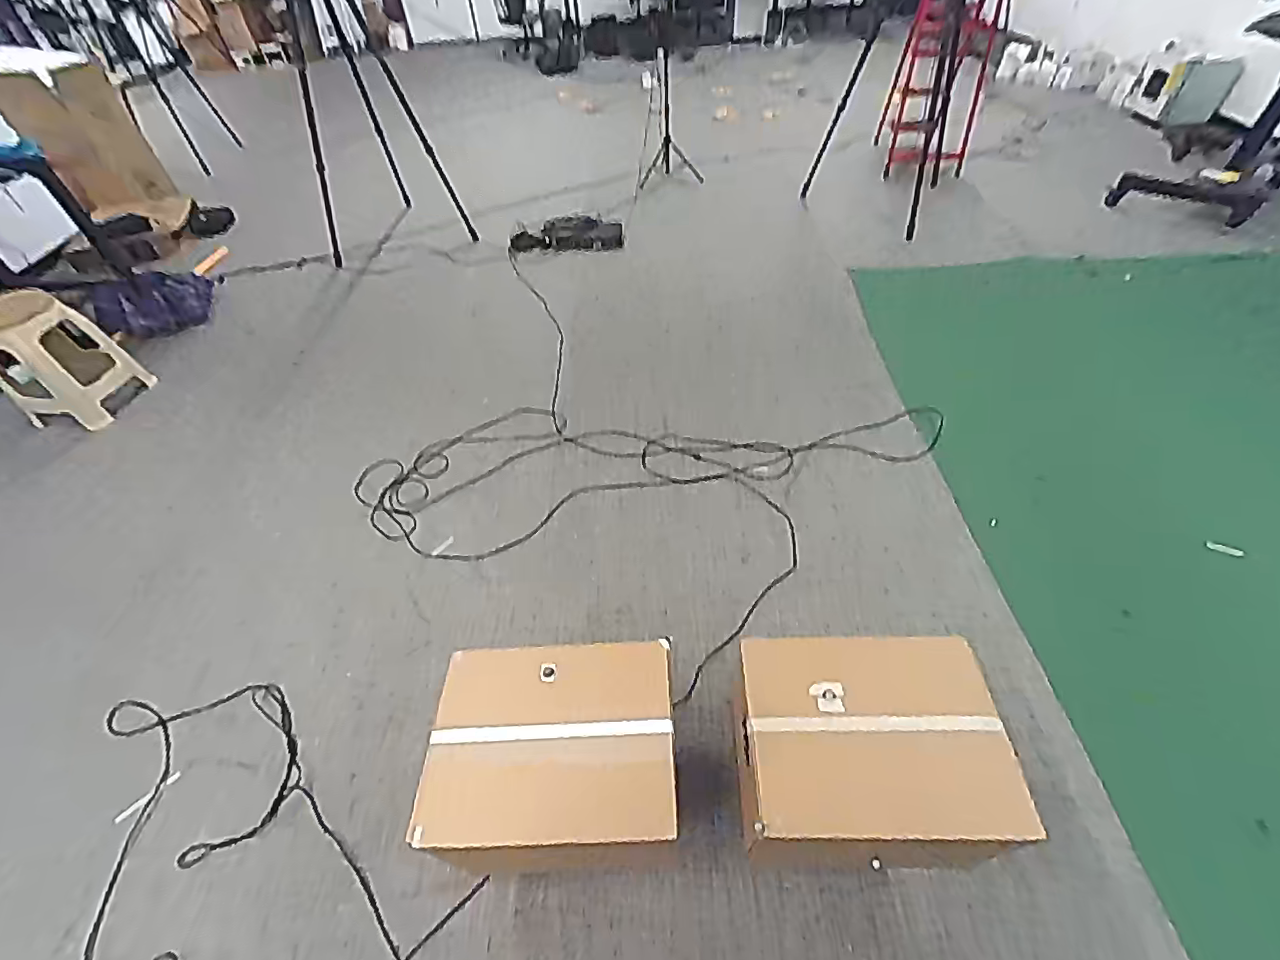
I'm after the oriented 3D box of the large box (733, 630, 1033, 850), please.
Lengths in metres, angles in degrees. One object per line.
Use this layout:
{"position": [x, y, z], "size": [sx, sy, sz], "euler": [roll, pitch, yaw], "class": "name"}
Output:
{"position": [0.396, 0.495, 1.012], "size": [0.408, 0.320, 0.320], "euler": [-2, 49, 4], "class": "large box"}
